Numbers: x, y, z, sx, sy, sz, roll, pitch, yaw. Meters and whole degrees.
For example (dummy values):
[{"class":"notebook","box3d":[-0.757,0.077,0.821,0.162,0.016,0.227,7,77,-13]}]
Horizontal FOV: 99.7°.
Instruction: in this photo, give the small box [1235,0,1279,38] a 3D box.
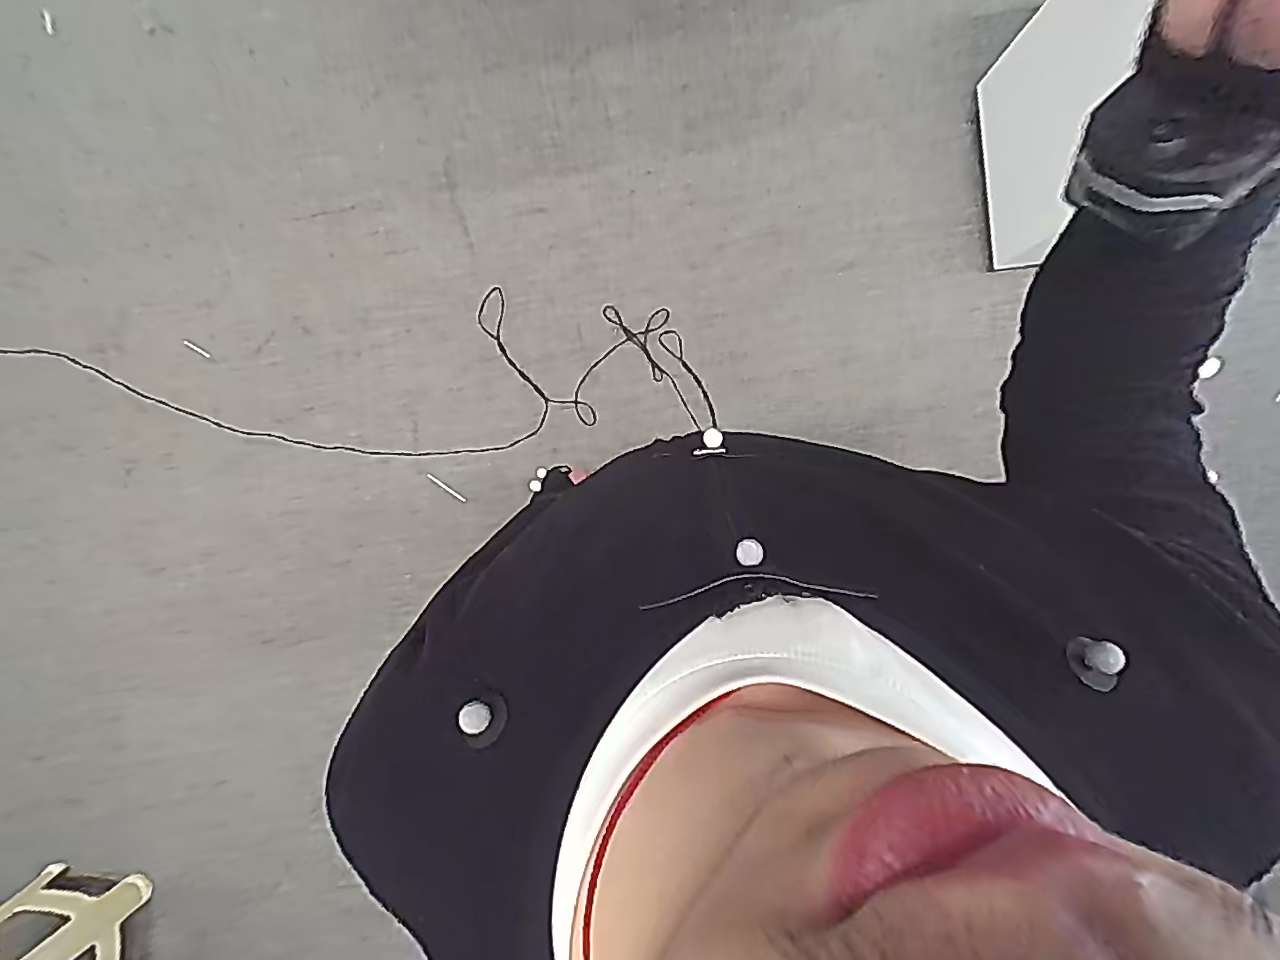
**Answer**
[{"class":"small box","box3d":[1.105,-0.849,0.855,0.179,0.176,0.168,-9,90,2]}]
